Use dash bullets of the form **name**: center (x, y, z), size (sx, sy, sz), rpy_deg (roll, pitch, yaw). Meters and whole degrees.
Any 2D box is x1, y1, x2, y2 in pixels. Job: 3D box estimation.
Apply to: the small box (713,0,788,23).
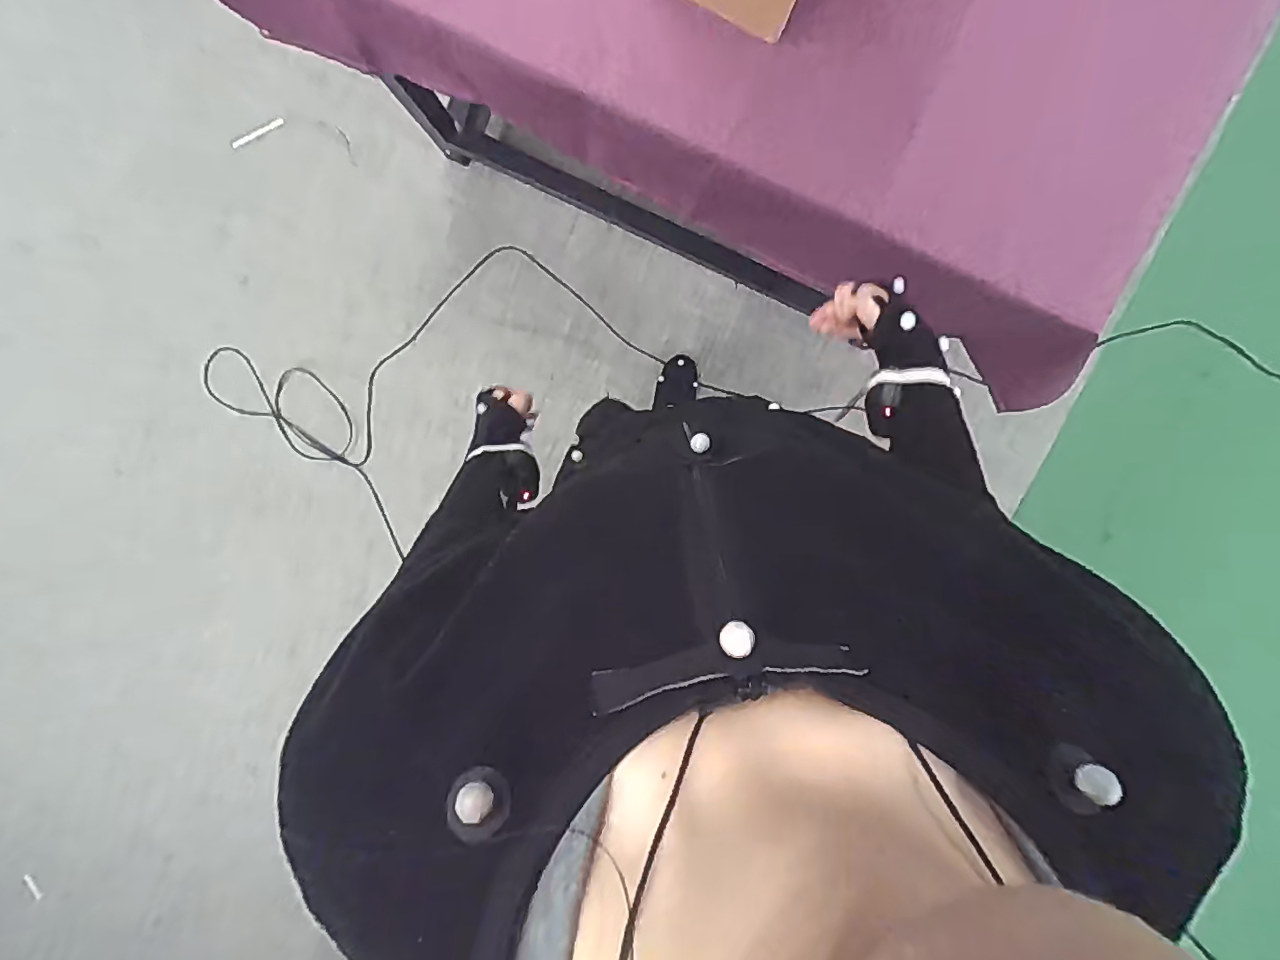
- **small box**: center (0.116, -0.632, 0.554), size (0.179, 0.176, 0.168), rpy_deg (24, 99, -5)
